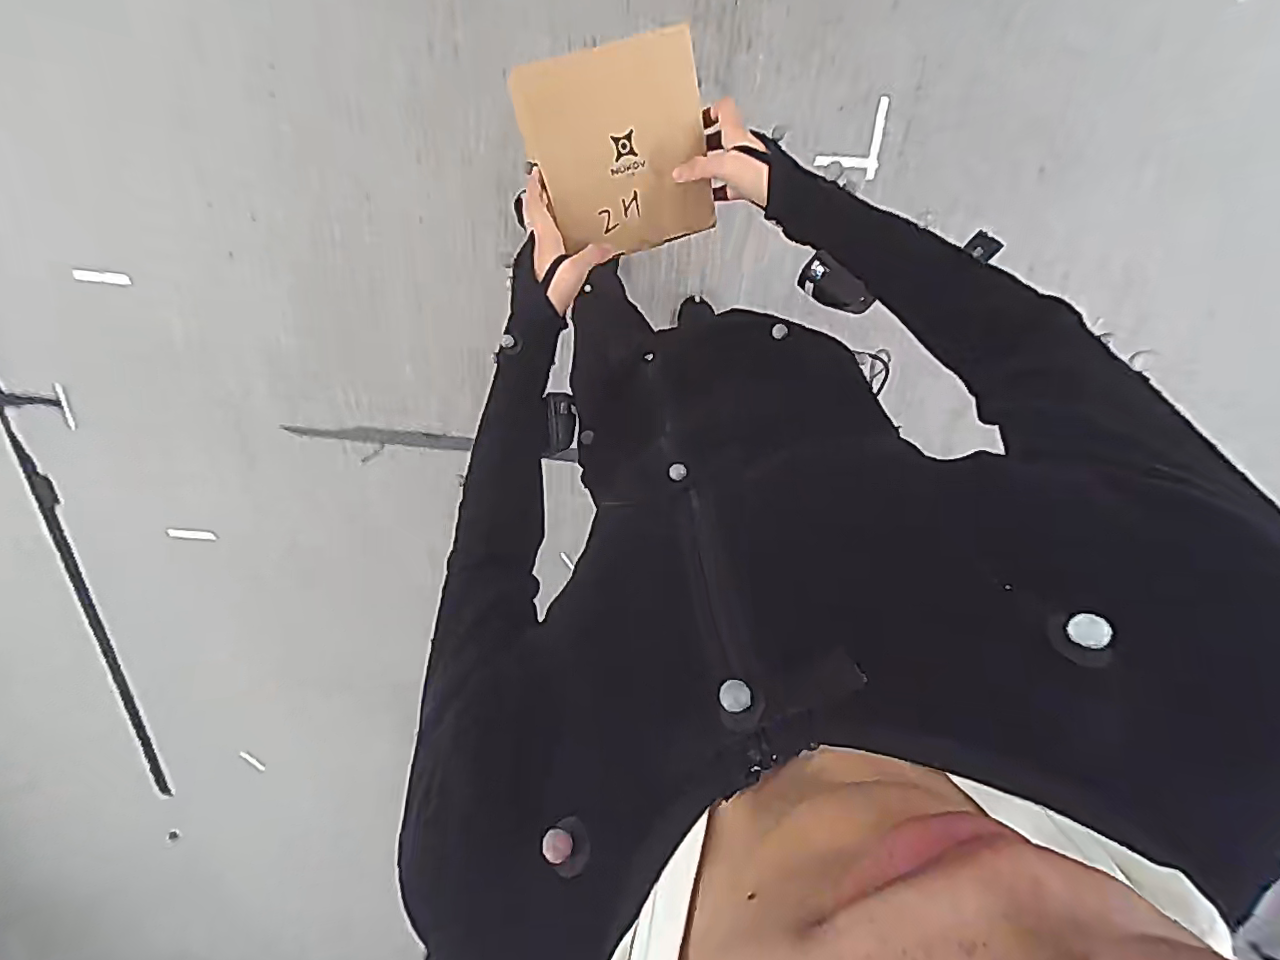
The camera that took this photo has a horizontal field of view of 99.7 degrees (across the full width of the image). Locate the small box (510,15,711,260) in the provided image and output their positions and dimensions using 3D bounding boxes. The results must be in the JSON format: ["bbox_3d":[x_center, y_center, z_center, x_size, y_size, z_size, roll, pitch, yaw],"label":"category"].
[{"bbox_3d":[-0.036,-0.360,0.586,0.168,0.176,0.179,-17,124,-3],"label":"small box"}]
